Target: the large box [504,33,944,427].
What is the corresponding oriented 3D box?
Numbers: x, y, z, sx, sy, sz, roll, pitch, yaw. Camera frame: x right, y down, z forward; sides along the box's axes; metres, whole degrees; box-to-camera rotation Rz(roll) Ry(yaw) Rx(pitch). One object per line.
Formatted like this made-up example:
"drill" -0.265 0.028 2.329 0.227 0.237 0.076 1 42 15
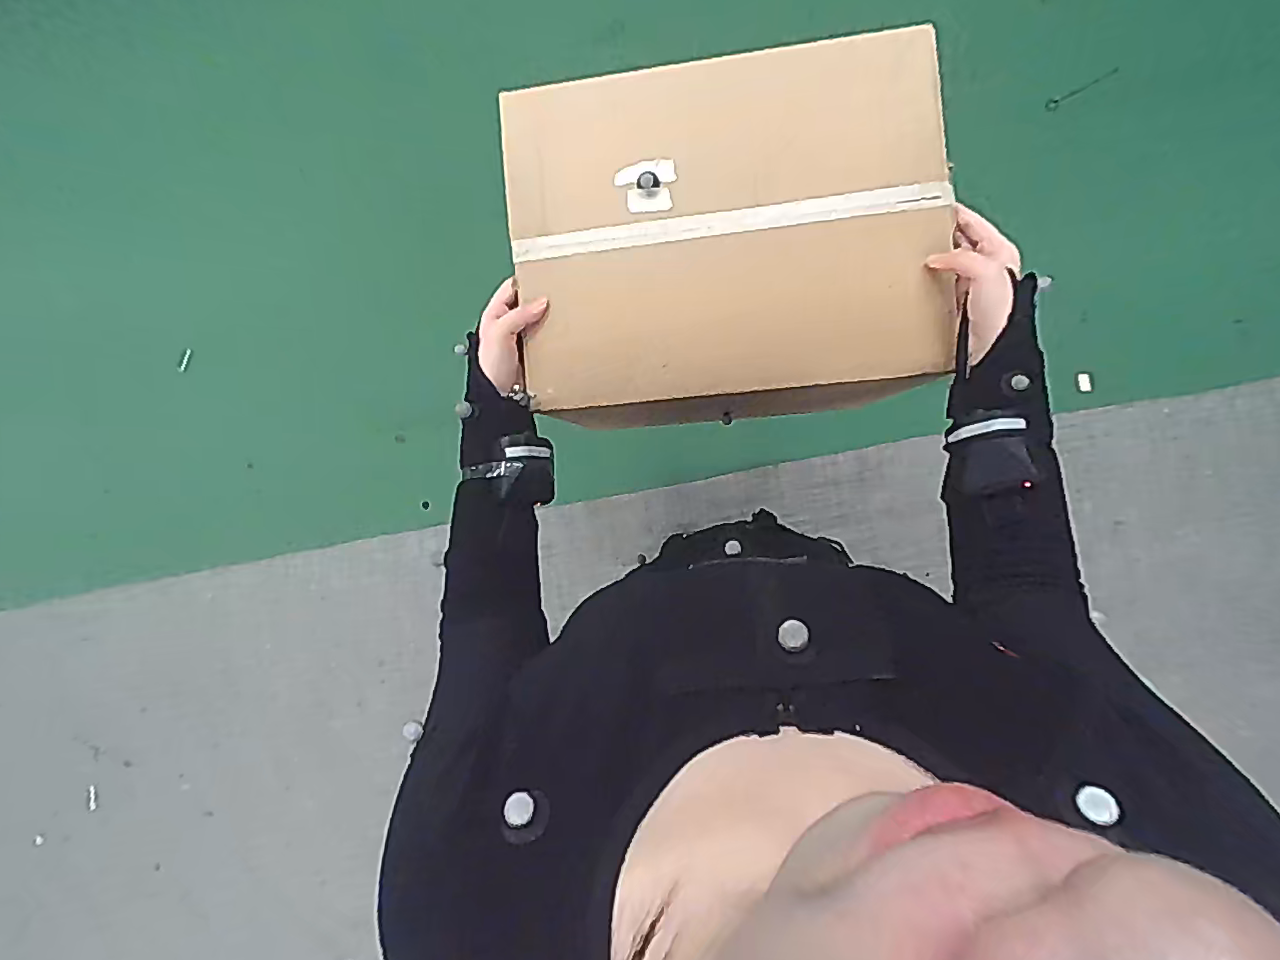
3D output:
"large box" 0.093 -0.244 0.668 0.408 0.320 0.320 -5 91 8
